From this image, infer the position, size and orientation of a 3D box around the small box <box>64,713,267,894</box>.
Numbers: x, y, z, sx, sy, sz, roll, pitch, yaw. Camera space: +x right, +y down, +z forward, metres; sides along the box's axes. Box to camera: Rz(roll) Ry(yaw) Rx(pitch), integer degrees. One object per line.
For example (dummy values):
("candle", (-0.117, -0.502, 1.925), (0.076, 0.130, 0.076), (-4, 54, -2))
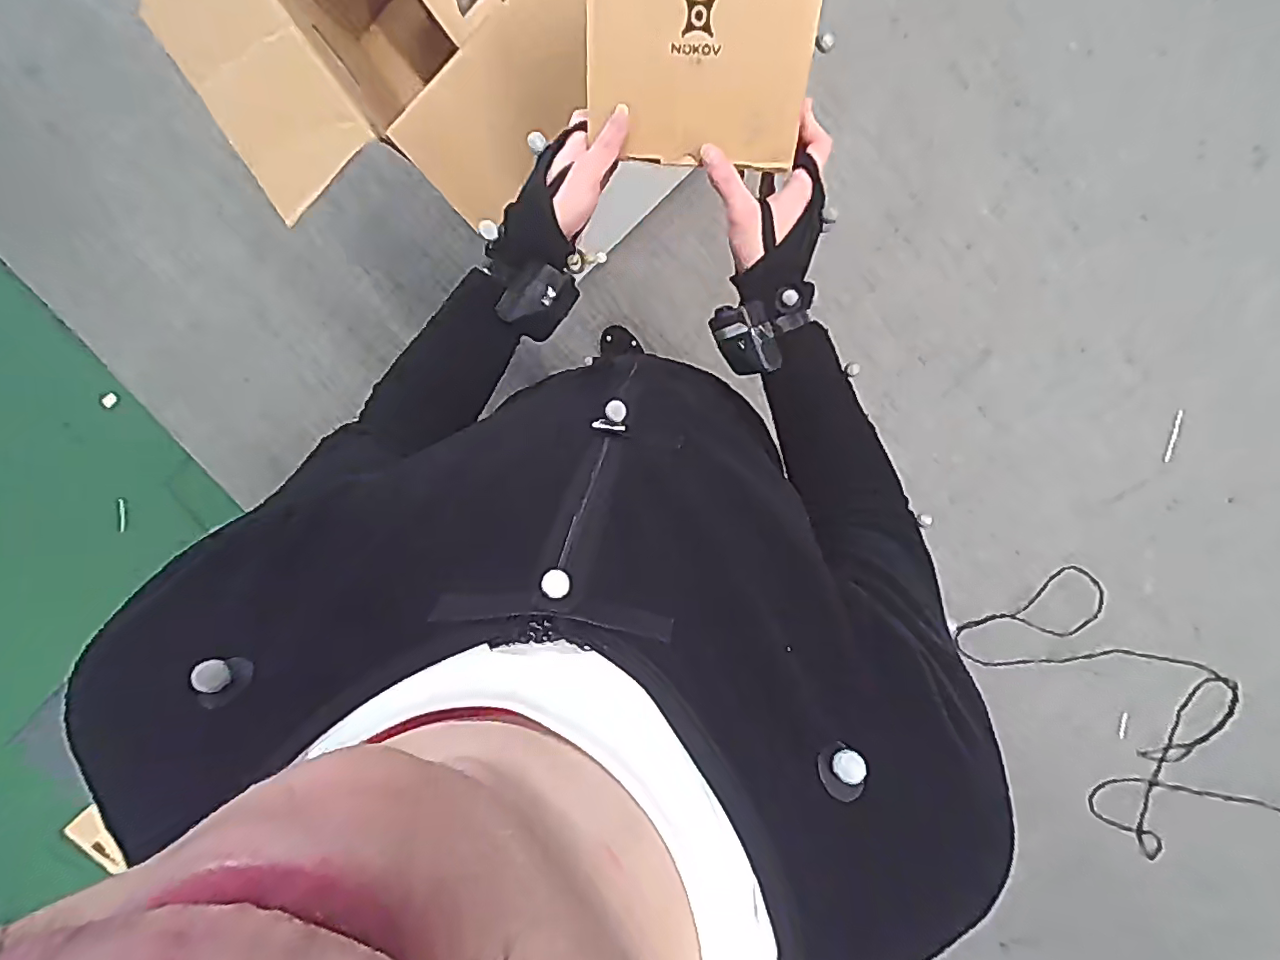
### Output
("small box", (-0.796, 0.545, 0.932), (0.179, 0.176, 0.168), (-39, 98, 10))

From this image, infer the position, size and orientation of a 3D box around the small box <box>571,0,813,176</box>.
("small box", (0.049, -0.357, 0.435), (0.168, 0.176, 0.179), (9, 124, 9))
